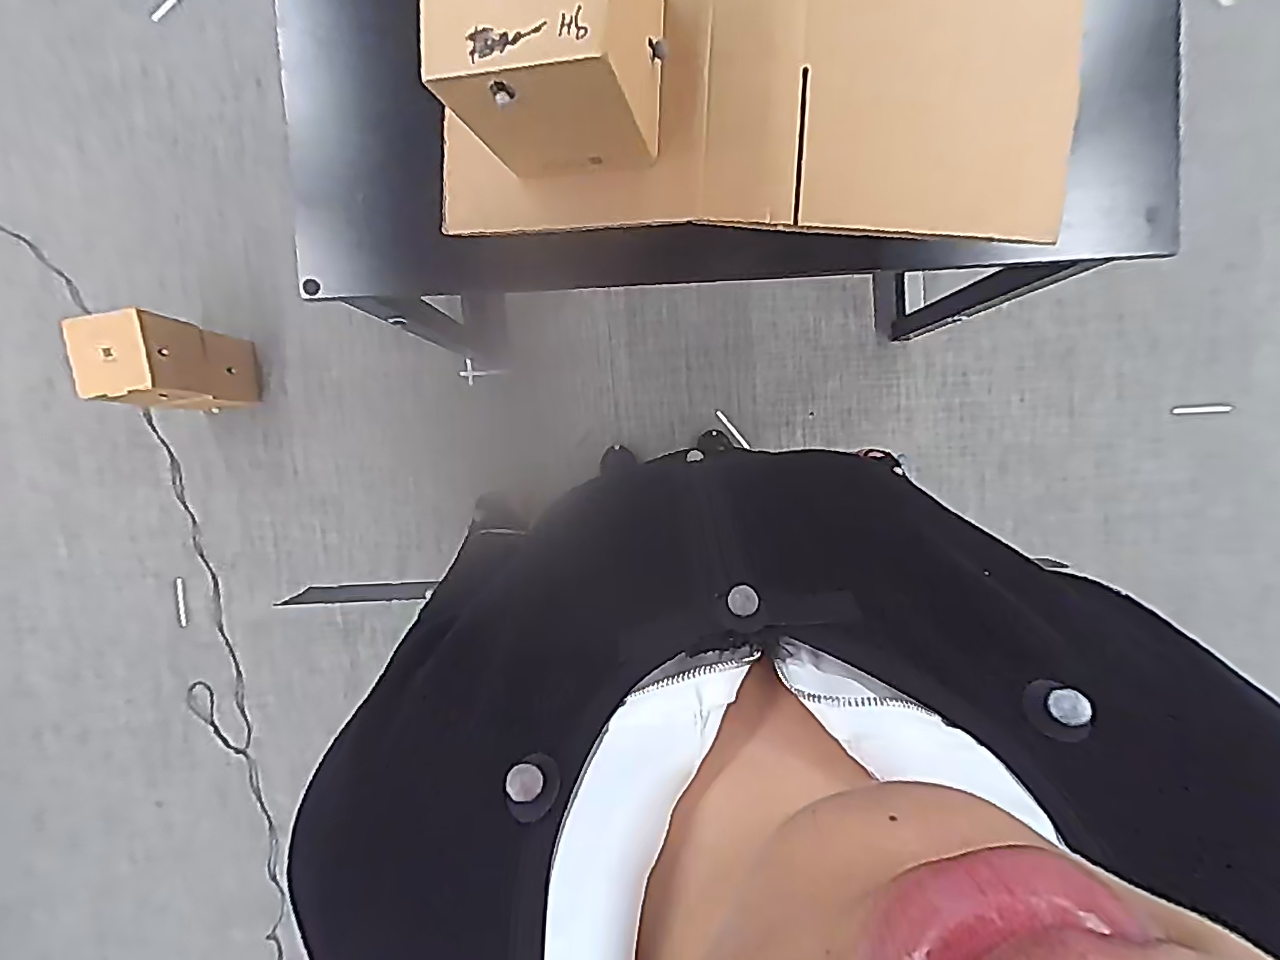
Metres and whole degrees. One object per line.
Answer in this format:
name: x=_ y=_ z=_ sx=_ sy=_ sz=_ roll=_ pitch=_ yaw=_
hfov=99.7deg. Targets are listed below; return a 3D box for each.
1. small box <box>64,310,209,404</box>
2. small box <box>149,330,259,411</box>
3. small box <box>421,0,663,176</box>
small box: x=-1.139 y=-0.273 z=1.240 sx=0.168 sy=0.176 sz=0.179 roll=-10 pitch=93 yaw=0
small box: x=-1.136 y=-0.278 z=1.403 sx=0.168 sy=0.176 sz=0.179 roll=-7 pitch=94 yaw=1
small box: x=-0.077 y=-0.416 z=0.501 sx=0.168 sy=0.176 sz=0.179 roll=4 pitch=94 yaw=15
